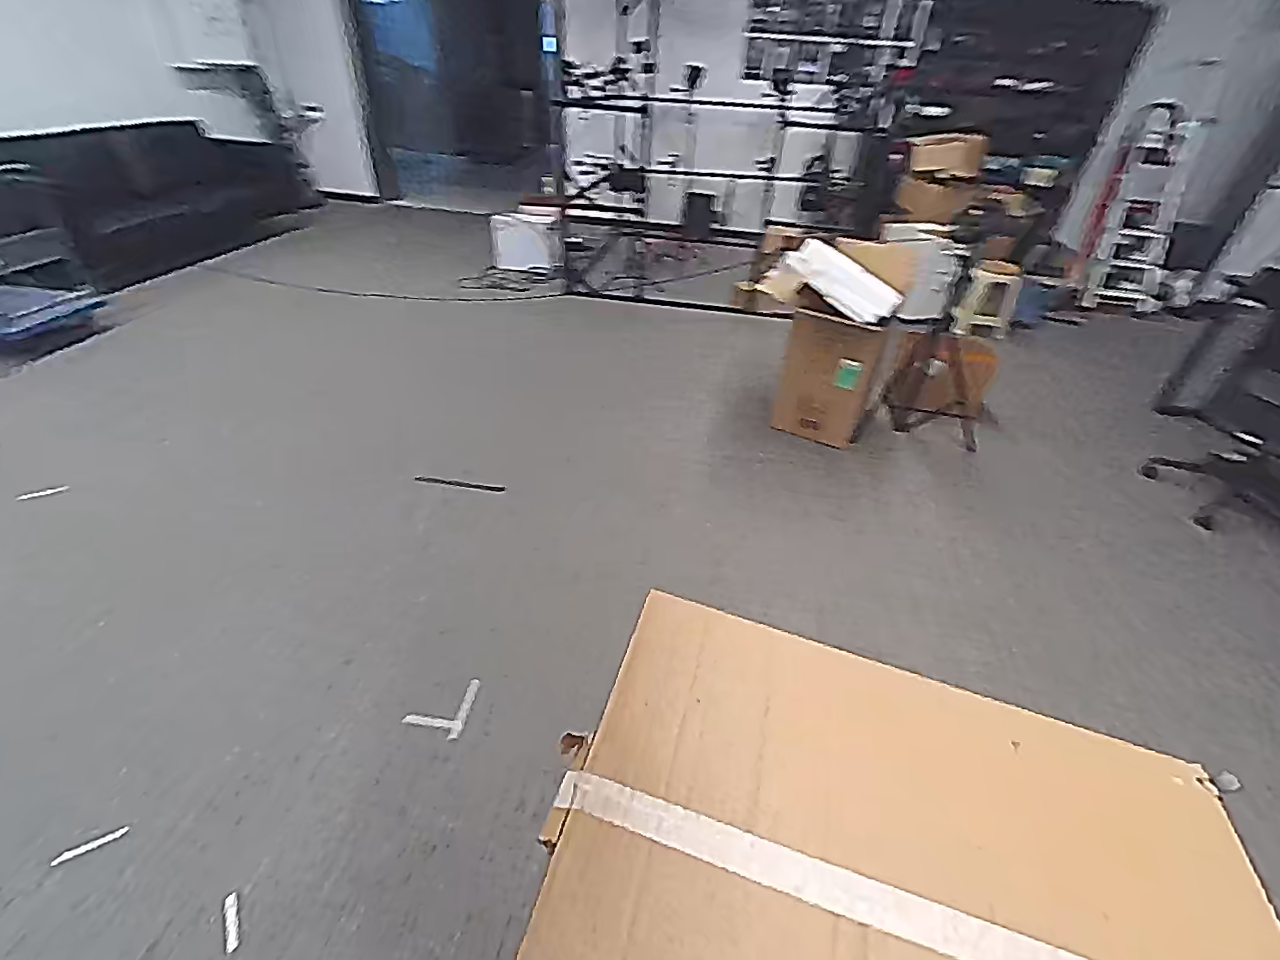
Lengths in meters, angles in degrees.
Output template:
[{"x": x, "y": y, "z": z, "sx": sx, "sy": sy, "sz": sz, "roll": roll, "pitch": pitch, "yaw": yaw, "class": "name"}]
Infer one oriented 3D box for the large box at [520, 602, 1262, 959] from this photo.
[{"x": 0.128, "y": 0.351, "z": 0.400, "sx": 0.408, "sy": 0.320, "sz": 0.320, "roll": 16, "pitch": 43, "yaw": 7, "class": "large box"}]
